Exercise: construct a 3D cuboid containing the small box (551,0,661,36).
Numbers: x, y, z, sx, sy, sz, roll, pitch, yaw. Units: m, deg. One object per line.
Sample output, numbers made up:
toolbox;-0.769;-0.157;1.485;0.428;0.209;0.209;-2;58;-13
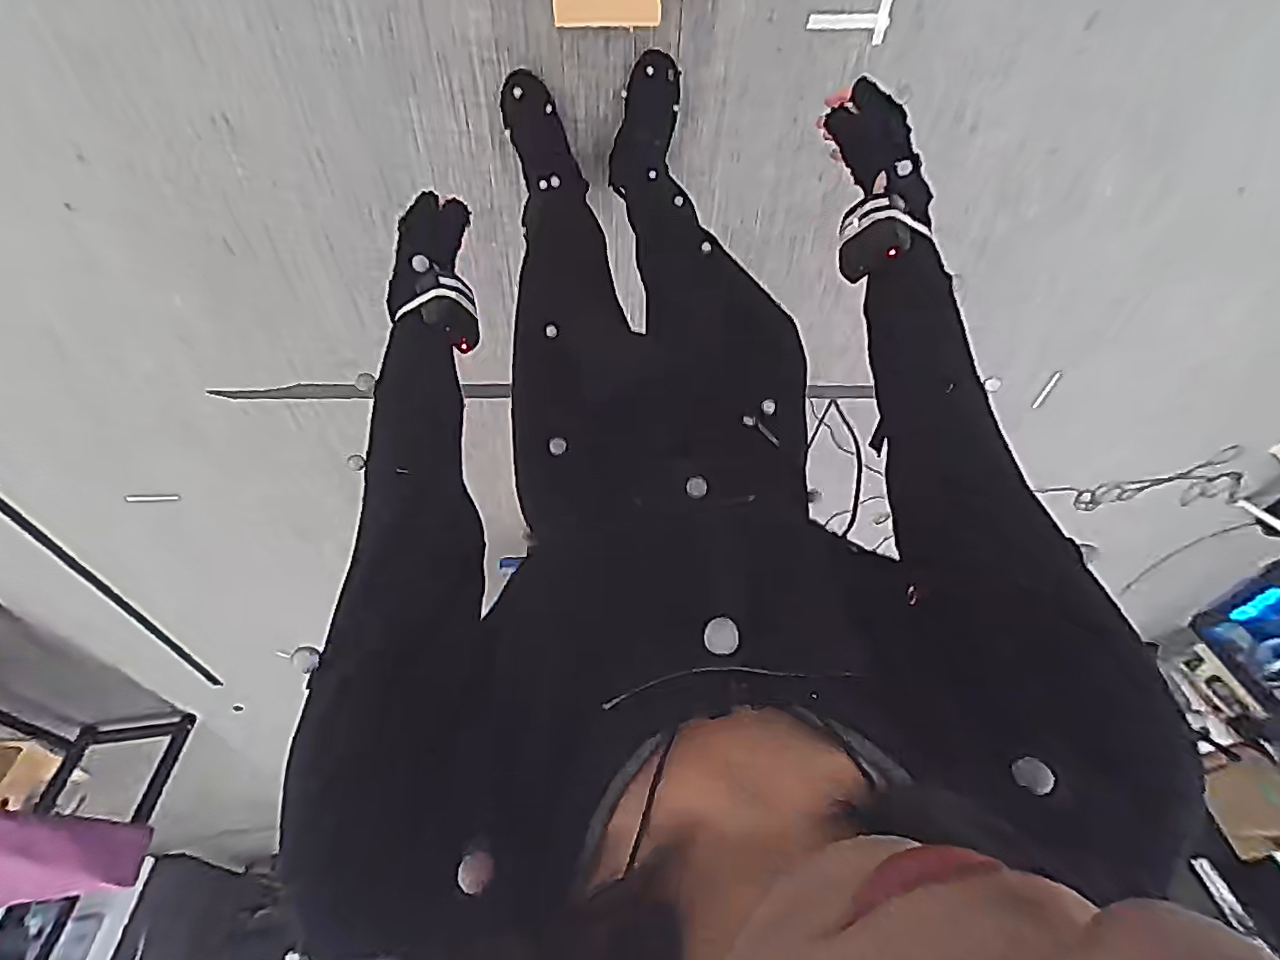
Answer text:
small box;-0.060;-0.845;0.888;0.179;0.176;0.168;-3;134;-3
